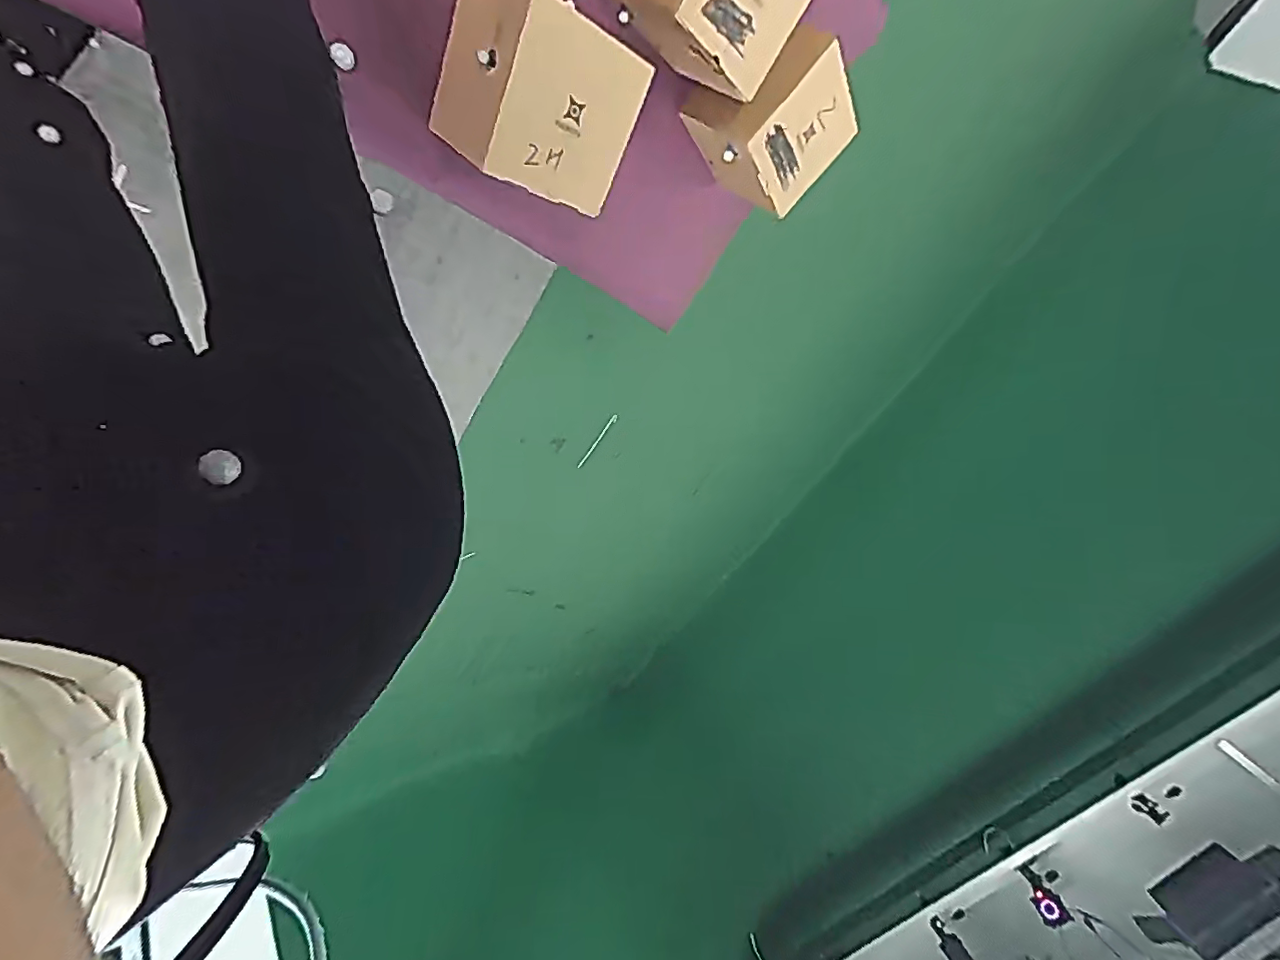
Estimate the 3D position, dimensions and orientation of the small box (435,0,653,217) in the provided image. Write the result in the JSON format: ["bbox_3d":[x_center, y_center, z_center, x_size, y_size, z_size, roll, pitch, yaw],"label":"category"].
[{"bbox_3d":[-0.122,-0.453,0.641,0.168,0.176,0.179,-2,131,-45],"label":"small box"}]
